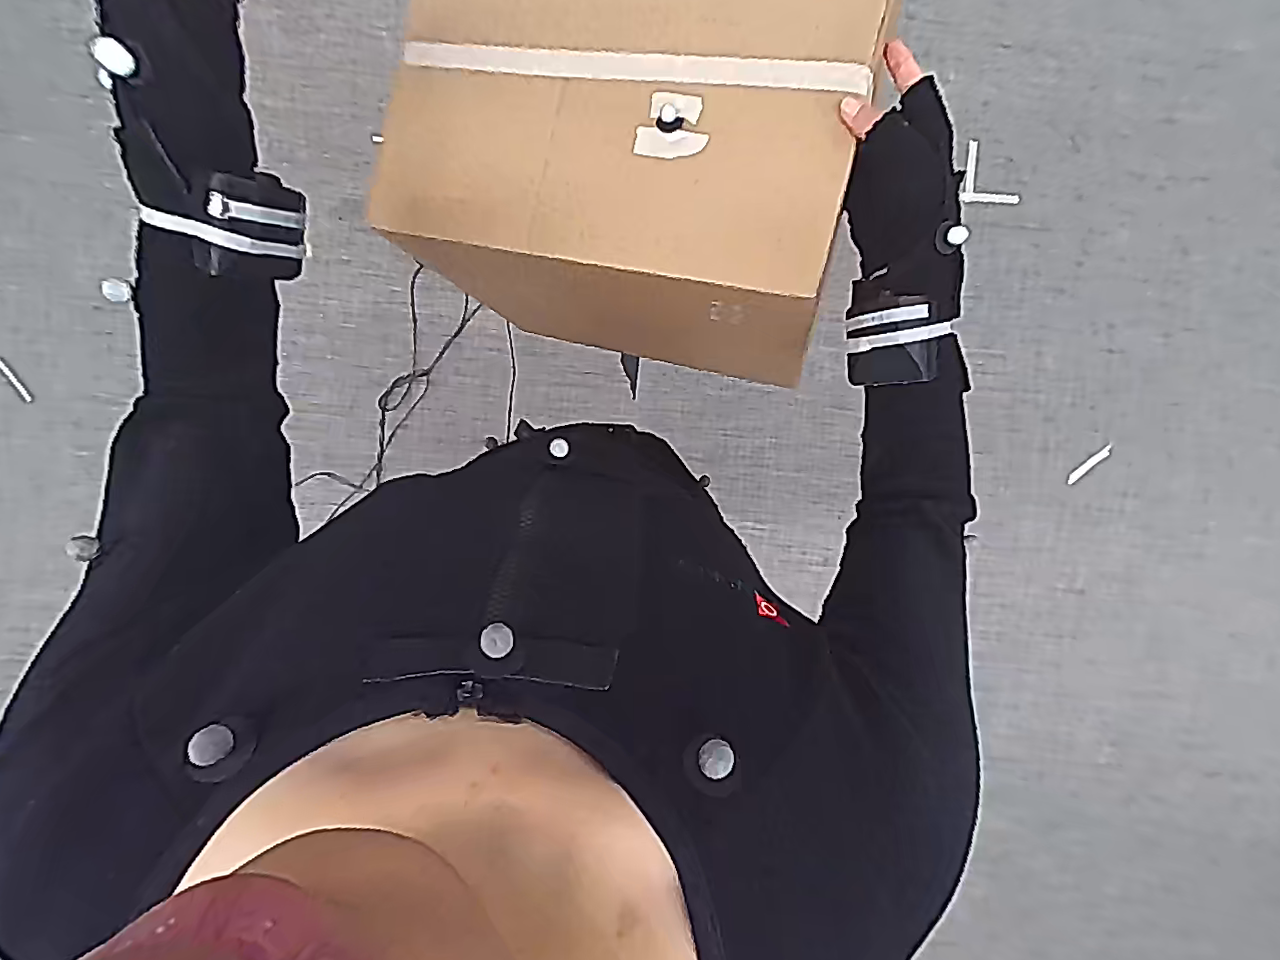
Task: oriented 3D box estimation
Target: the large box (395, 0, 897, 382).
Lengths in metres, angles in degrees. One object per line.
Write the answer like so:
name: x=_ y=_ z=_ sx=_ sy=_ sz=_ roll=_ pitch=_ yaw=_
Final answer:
large box: x=0.024 y=-0.329 z=0.607 sx=0.408 sy=0.320 sz=0.320 roll=16 pitch=91 yaw=16
